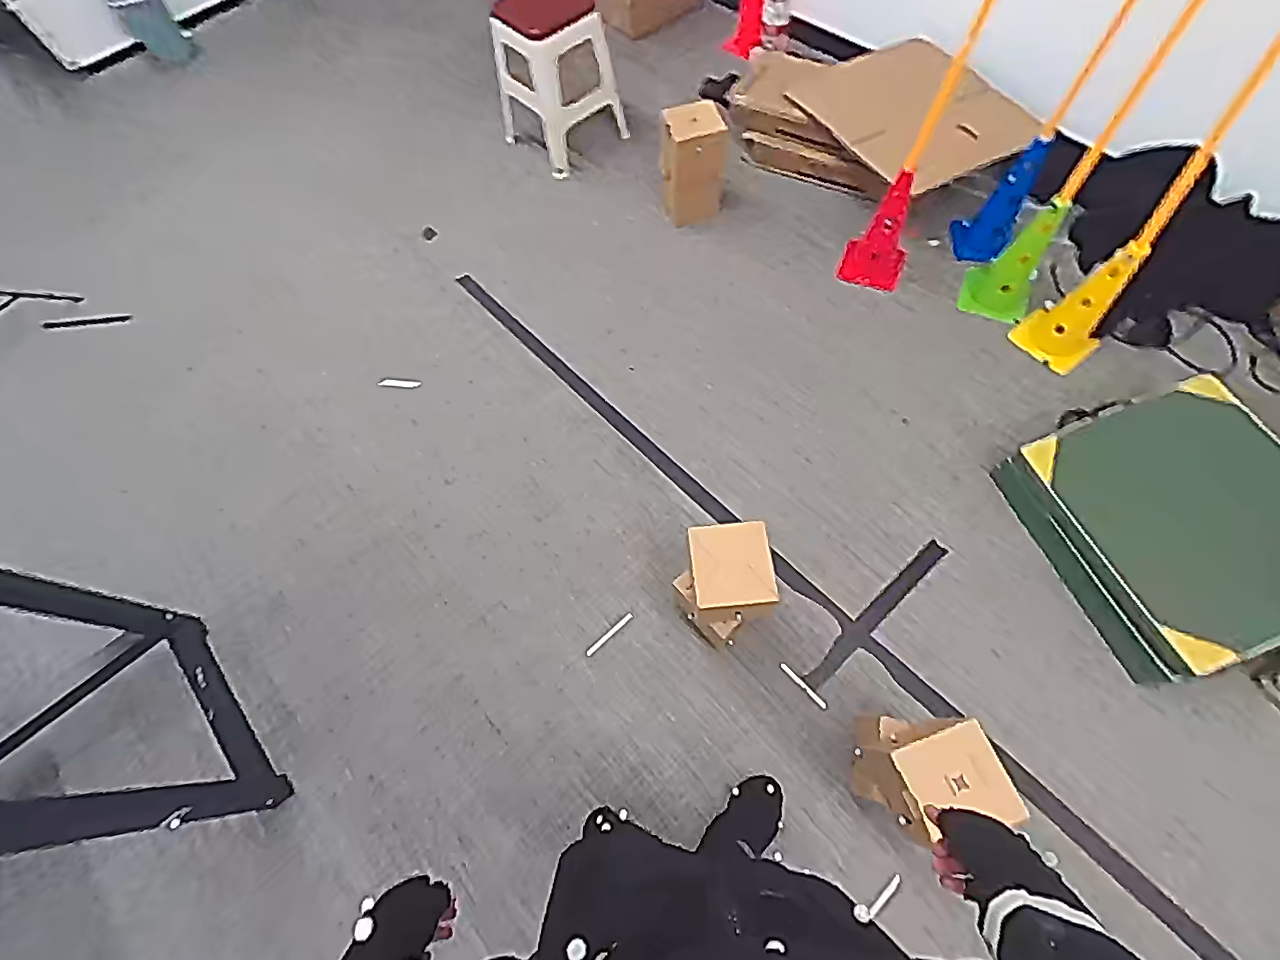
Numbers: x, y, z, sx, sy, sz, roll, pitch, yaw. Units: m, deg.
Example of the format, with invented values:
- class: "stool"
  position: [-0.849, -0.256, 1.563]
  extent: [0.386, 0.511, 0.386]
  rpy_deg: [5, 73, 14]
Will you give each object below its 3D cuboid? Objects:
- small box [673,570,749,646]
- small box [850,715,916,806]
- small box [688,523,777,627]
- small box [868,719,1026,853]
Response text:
- class: "small box"
  position: [0.201, 0.294, 1.347]
  extent: [0.168, 0.176, 0.179]
  rpy_deg: [-38, 67, -14]
- class: "small box"
  position: [0.570, 0.622, 1.166]
  extent: [0.179, 0.176, 0.168]
  rpy_deg: [15, 68, 11]
- class: "small box"
  position: [0.199, 0.214, 1.199]
  extent: [0.168, 0.176, 0.179]
  rpy_deg: [-6, 64, 1]
- class: "small box"
  position: [0.554, 0.563, 1.014]
  extent: [0.179, 0.176, 0.168]
  rpy_deg: [-18, 67, -5]
